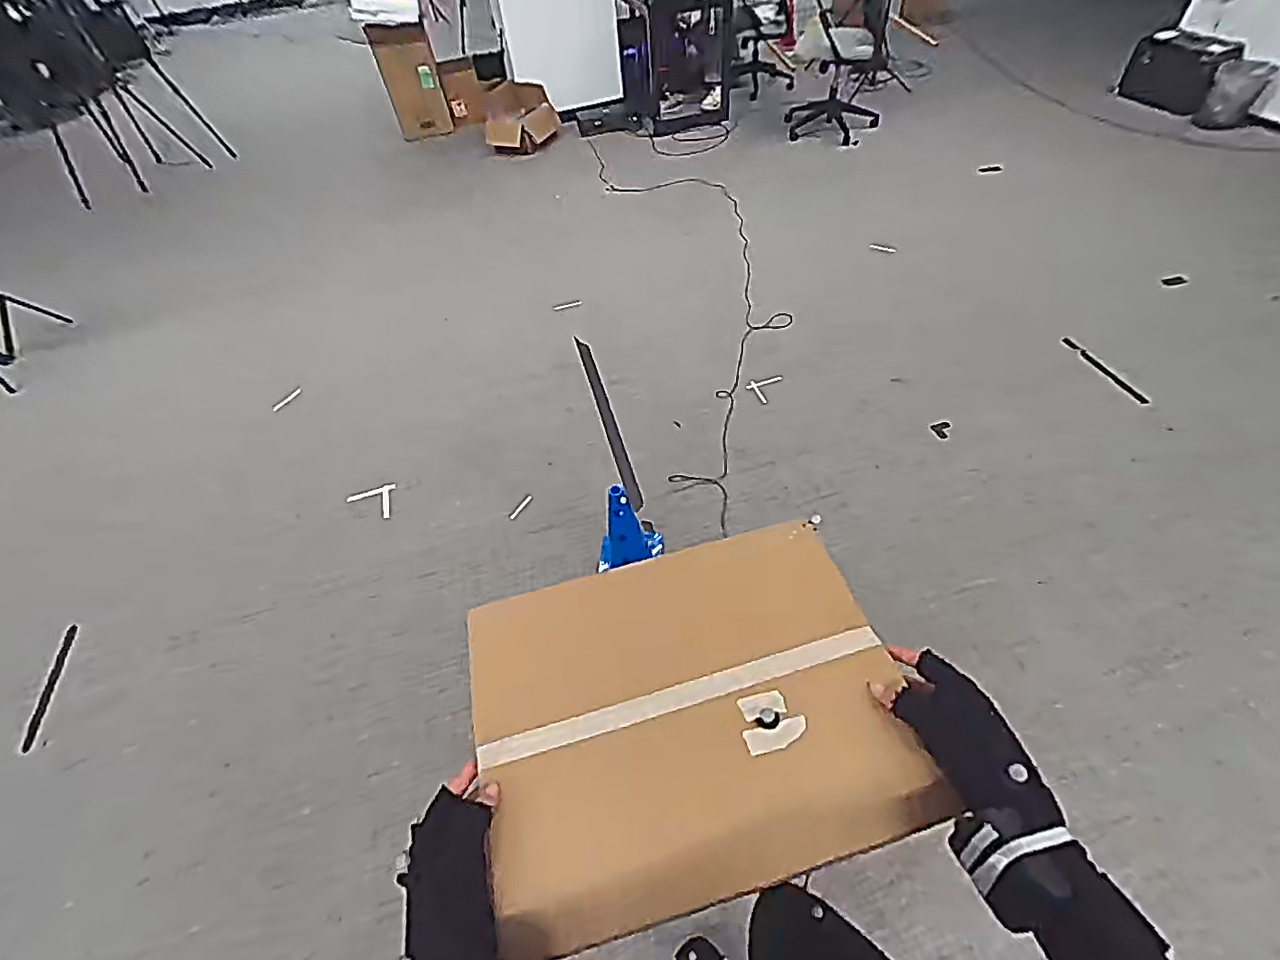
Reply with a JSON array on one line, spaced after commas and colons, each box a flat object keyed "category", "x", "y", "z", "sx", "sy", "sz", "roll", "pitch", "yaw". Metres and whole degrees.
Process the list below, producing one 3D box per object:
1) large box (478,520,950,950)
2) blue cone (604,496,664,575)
[{"category": "large box", "x": 0.056, "y": 0.304, "z": 0.656, "sx": 0.408, "sy": 0.320, "sz": 0.320, "roll": -15, "pitch": 52, "yaw": -6}, {"category": "blue cone", "x": -0.036, "y": 0.163, "z": 1.585, "sx": 0.193, "sy": 0.380, "sz": 0.192, "roll": -1, "pitch": 51, "yaw": 8}]
